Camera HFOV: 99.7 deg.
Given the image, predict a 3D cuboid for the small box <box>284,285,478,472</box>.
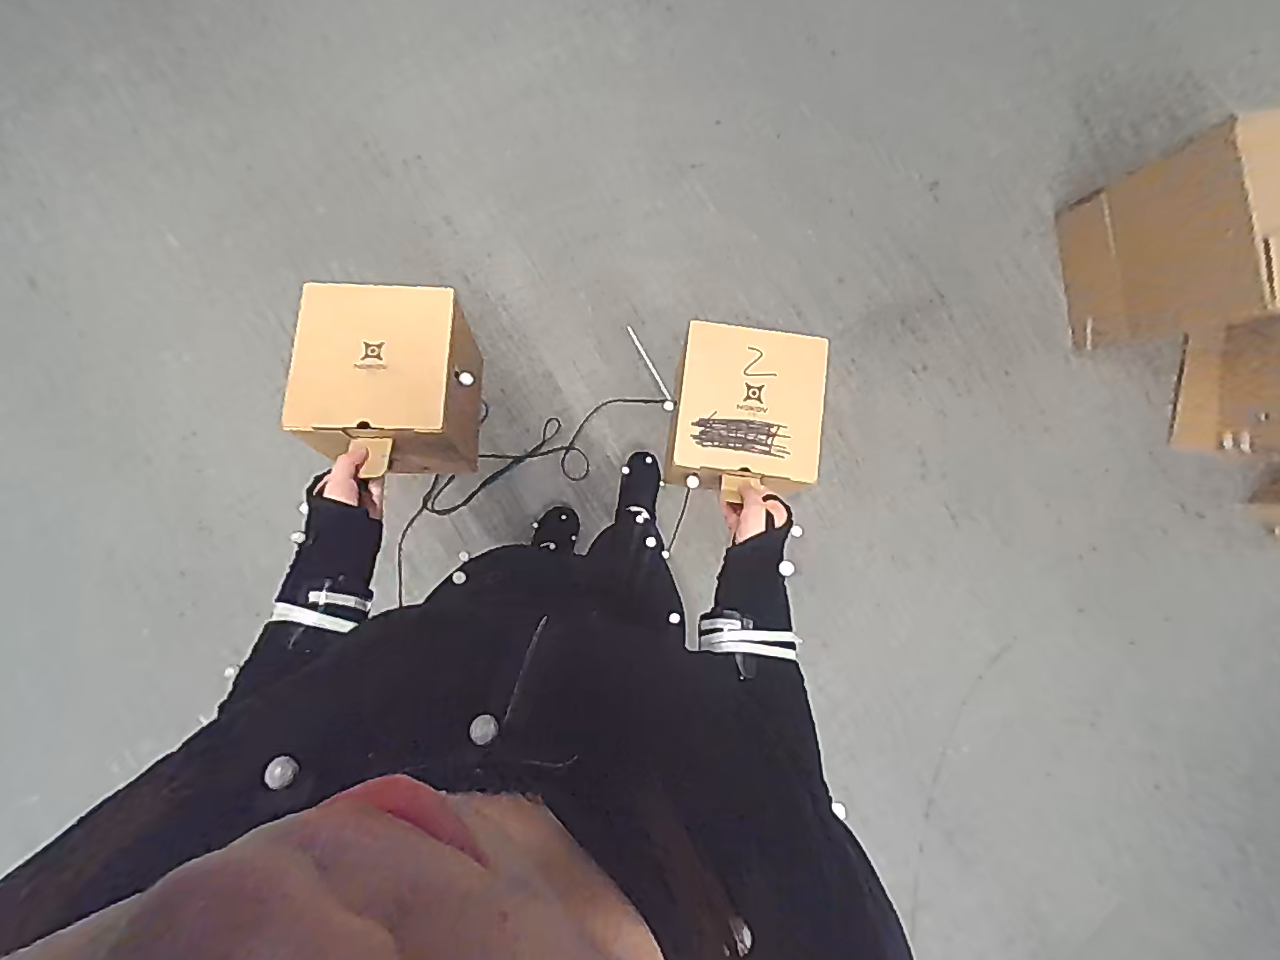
[{"bbox_3d":[-0.303,-0.117,0.673,0.168,0.176,0.179,-1,76,-5],"label":"small box"}]
